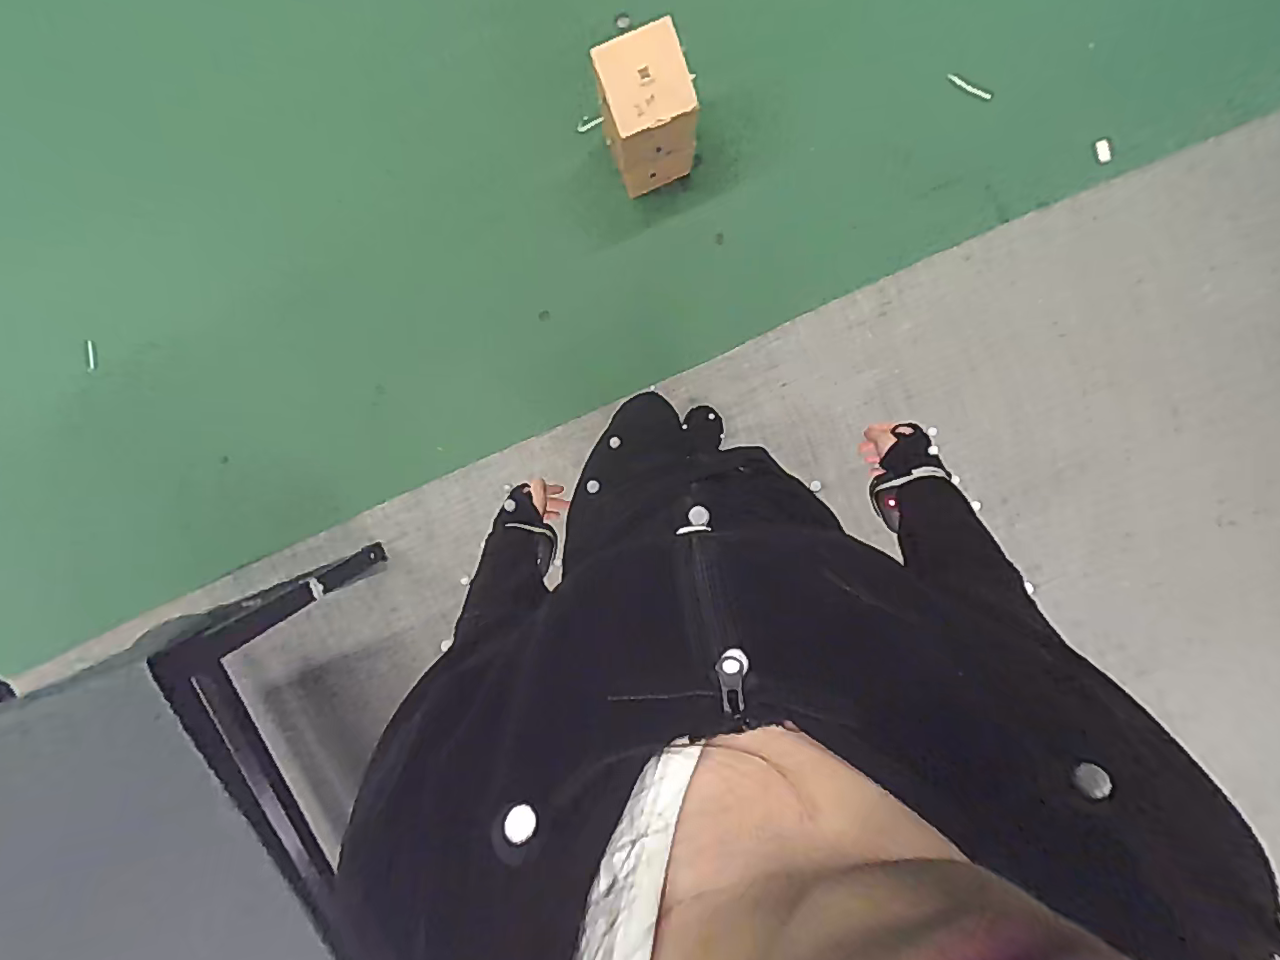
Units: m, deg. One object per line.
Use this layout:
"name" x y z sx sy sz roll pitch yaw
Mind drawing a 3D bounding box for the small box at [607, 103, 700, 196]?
"small box" 0.037 -0.812 1.296 0.168 0.176 0.179 -23 96 6

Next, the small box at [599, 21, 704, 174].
"small box" 0.026 -0.787 1.132 0.168 0.176 0.179 -20 97 6
